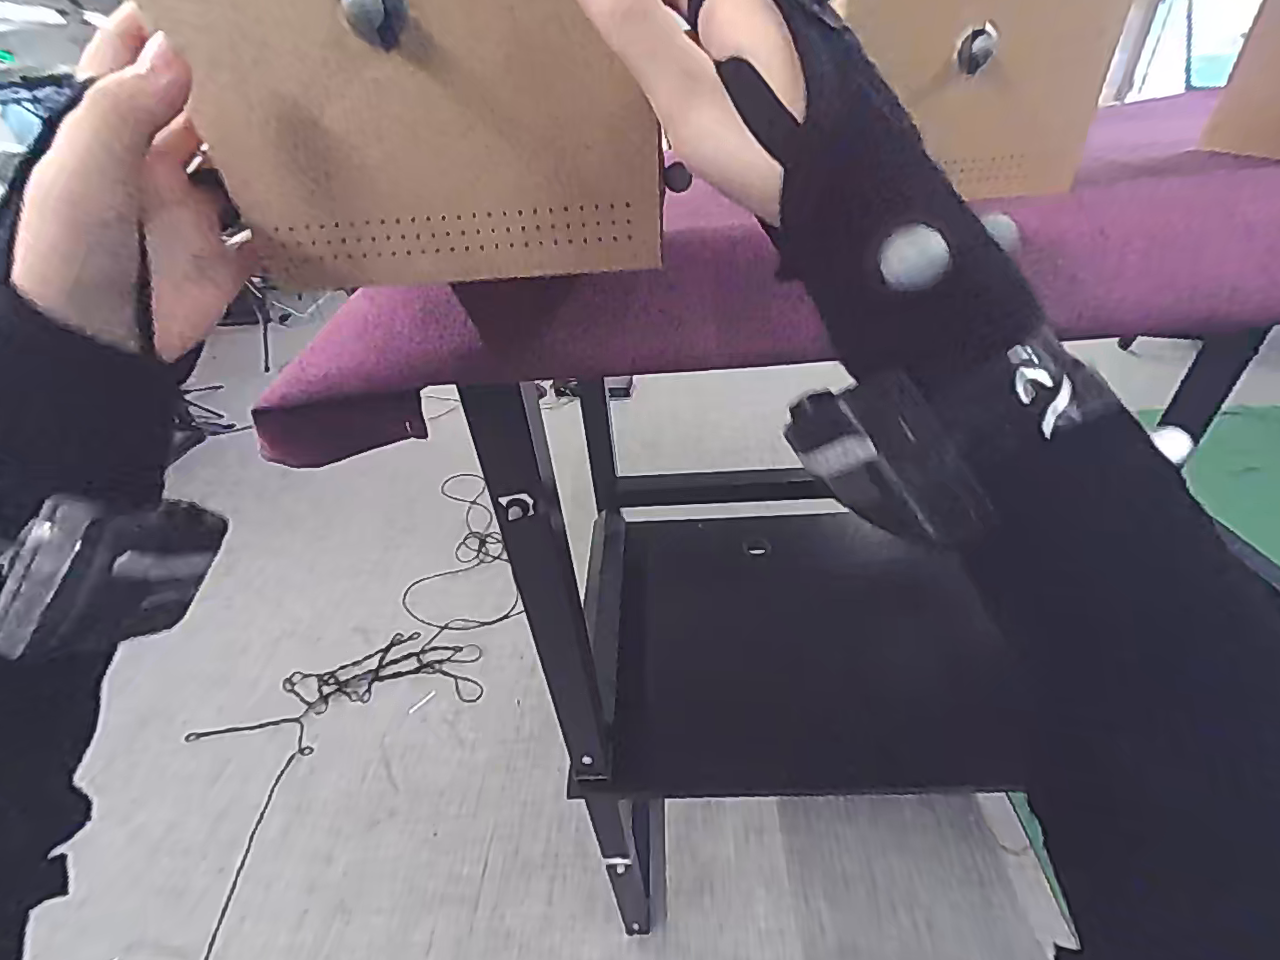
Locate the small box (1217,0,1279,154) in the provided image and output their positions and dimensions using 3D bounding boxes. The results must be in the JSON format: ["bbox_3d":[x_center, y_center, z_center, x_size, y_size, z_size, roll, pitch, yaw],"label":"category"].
[{"bbox_3d":[0.589,-0.329,0.375,0.168,0.176,0.179,1,35,8],"label":"small box"}]

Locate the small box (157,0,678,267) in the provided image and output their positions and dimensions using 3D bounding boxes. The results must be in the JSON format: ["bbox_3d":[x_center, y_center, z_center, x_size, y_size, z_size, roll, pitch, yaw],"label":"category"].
[{"bbox_3d":[-0.073,-0.208,0.236,0.179,0.176,0.168,-3,43,1],"label":"small box"}]
